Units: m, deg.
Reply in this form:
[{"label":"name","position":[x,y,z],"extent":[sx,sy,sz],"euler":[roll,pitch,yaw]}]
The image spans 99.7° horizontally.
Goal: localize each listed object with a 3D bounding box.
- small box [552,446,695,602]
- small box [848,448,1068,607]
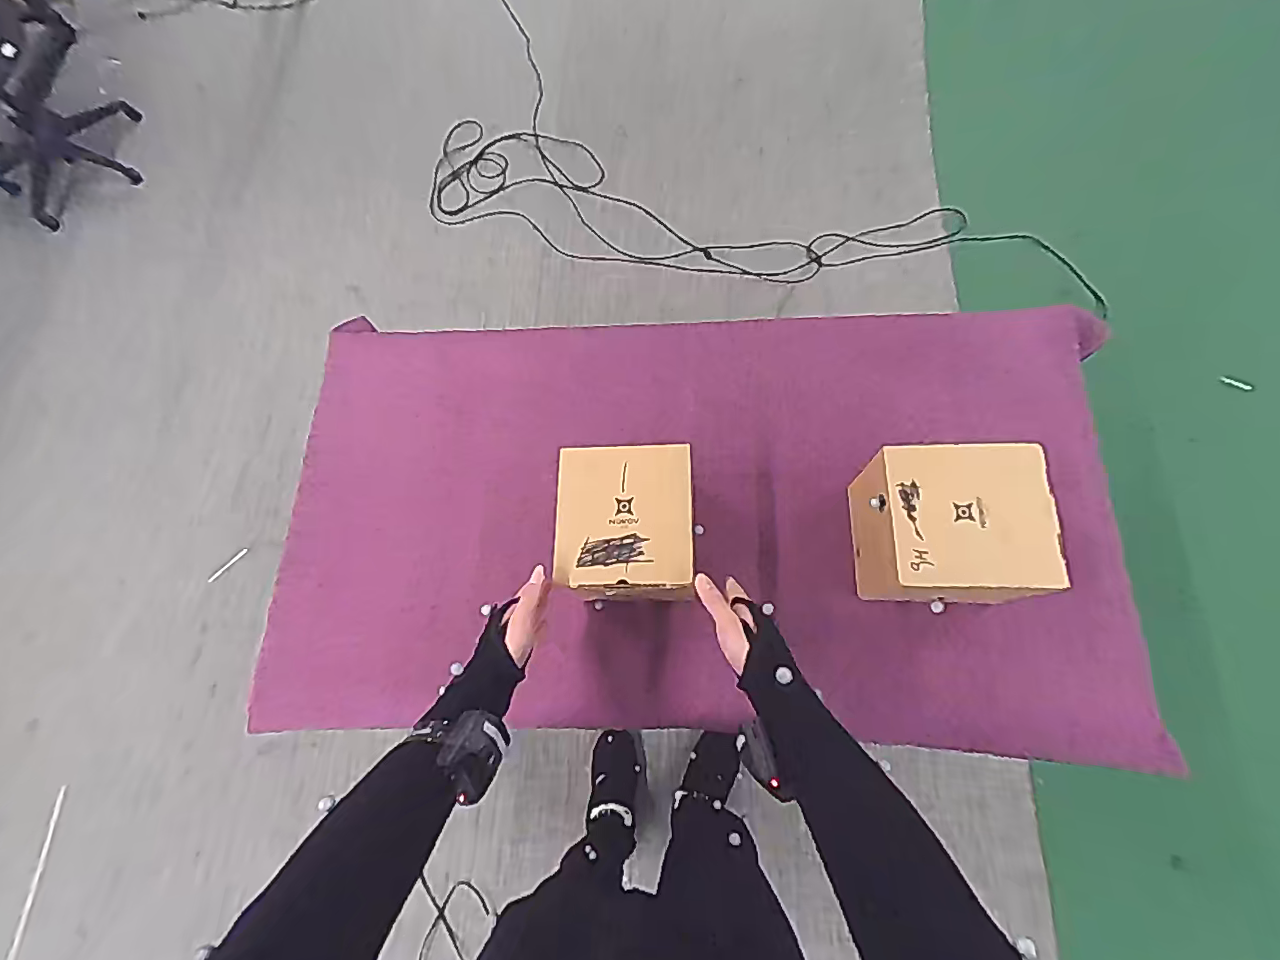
[{"label":"small box","position":[-0.012,0.066,0.716],"extent":[0.168,0.176,0.179],"euler":[-1,71,5]},{"label":"small box","position":[0.377,0.066,0.677],"extent":[0.179,0.176,0.168],"euler":[0,72,6]}]
